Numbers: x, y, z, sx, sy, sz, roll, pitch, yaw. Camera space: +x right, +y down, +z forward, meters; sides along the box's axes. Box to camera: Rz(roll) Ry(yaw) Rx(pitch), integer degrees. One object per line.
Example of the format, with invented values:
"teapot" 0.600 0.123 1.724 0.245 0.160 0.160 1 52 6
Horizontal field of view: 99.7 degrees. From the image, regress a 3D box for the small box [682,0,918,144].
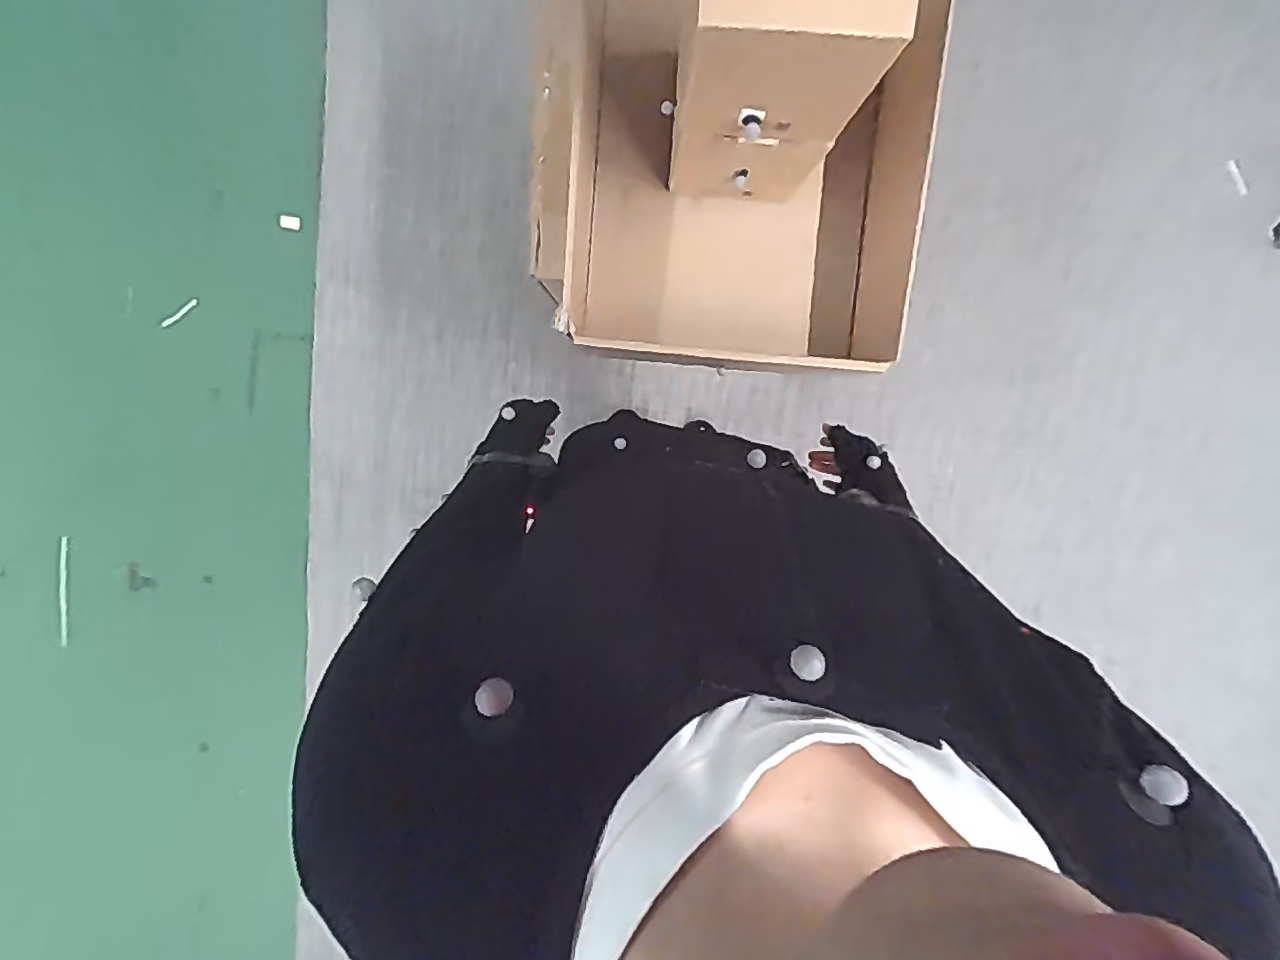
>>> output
"small box" 0.128 -0.431 0.472 0.168 0.176 0.179 3 98 -1
